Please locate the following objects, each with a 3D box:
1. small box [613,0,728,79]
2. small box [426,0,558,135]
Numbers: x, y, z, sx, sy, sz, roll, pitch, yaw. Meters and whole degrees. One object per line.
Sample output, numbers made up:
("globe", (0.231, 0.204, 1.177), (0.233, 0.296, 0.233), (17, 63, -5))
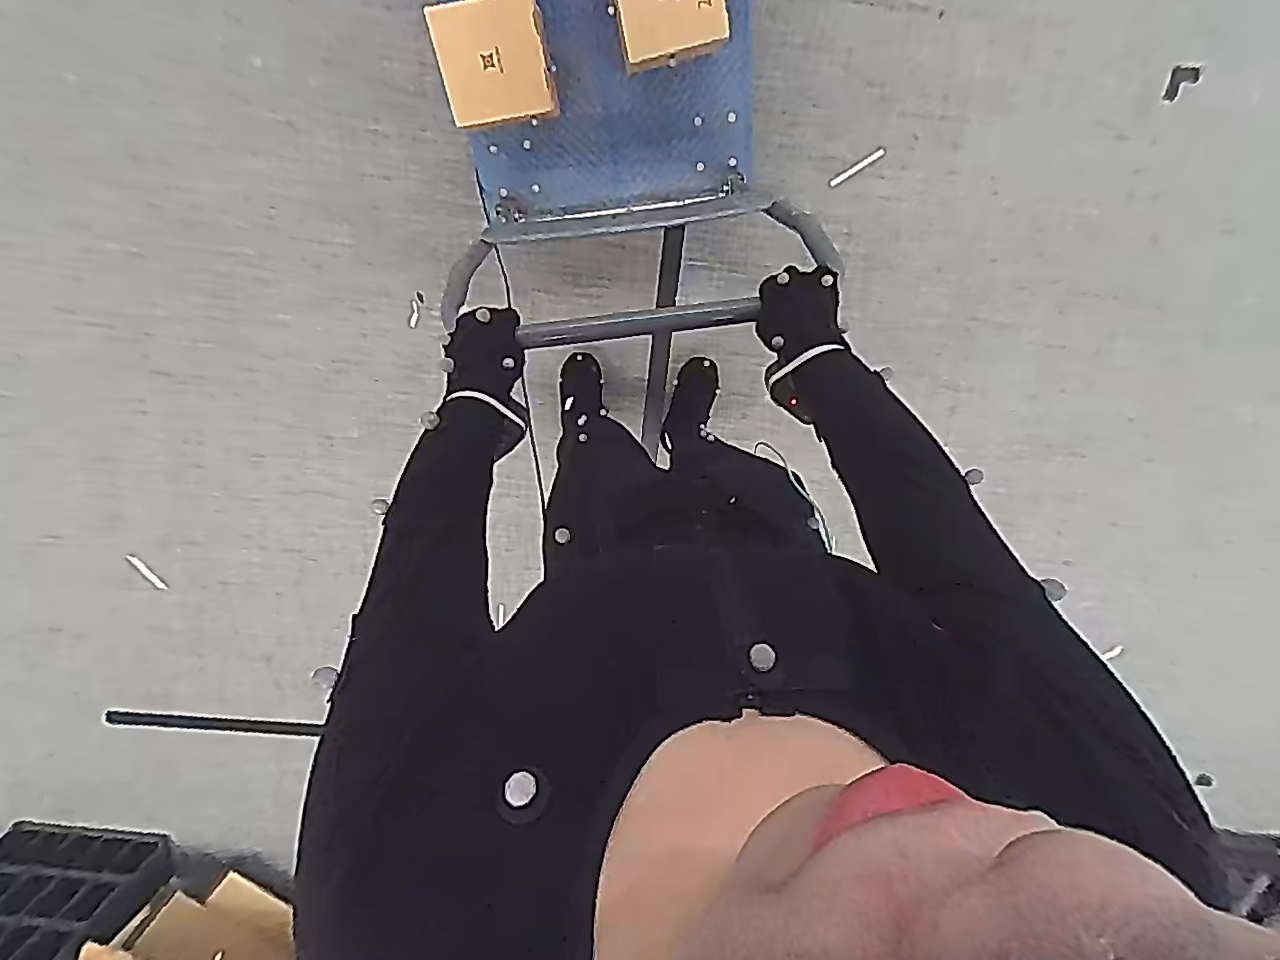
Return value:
("small box", (0.045, -0.822, 0.937), (0.179, 0.176, 0.168), (-12, 120, 4))
("small box", (-0.254, -0.735, 0.976), (0.179, 0.176, 0.168), (-10, 121, 1))
